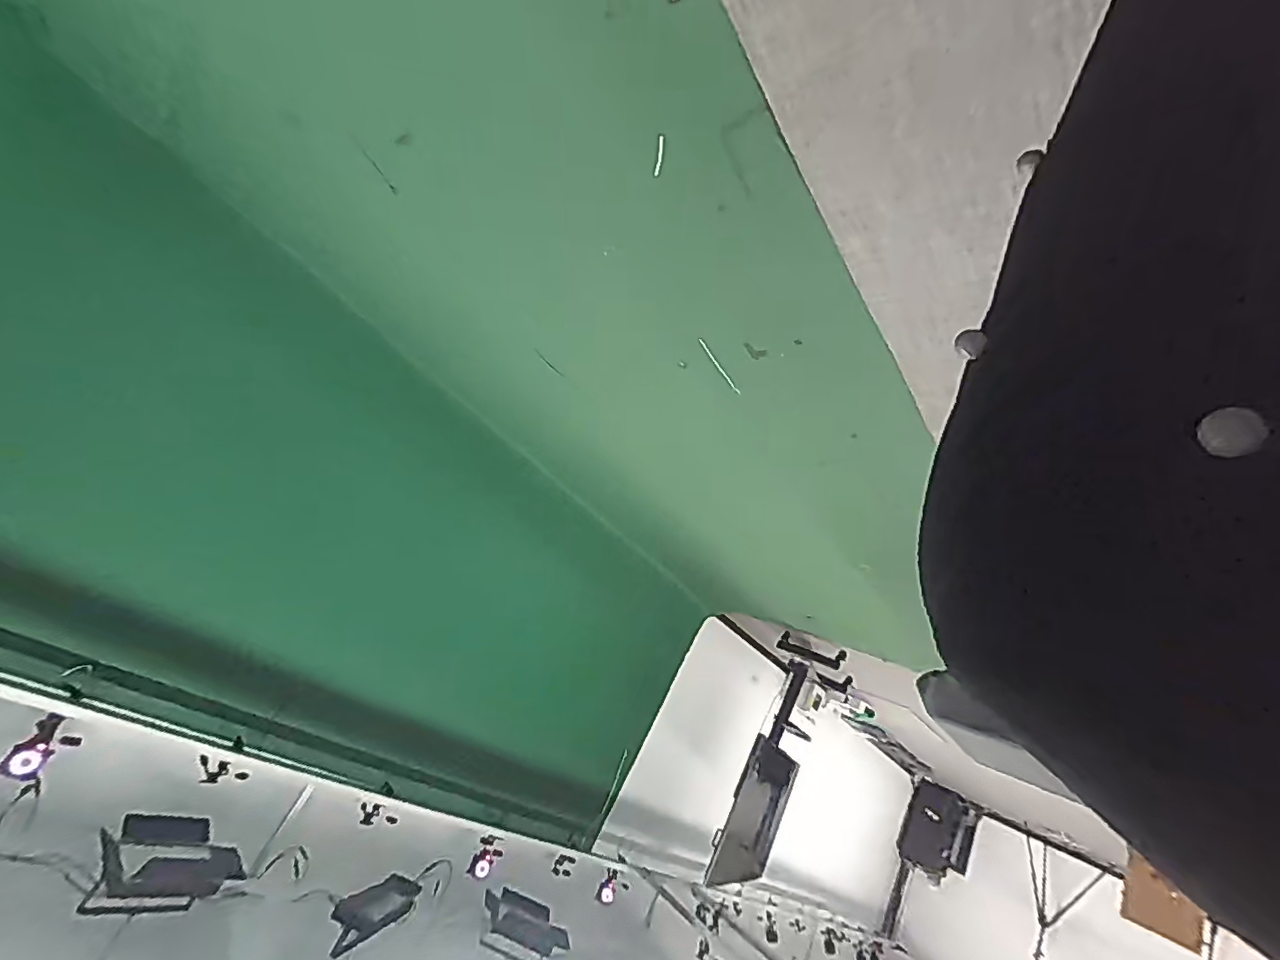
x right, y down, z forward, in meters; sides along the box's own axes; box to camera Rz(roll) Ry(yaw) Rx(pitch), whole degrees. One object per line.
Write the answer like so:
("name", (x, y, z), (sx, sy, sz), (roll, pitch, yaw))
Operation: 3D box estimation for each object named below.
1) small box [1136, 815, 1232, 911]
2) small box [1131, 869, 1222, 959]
("small box", (1.589, 1.110, 1.580), (0.179, 0.176, 0.168), (7, 151, 49))
("small box", (1.516, 1.245, 1.526), (0.168, 0.176, 0.179), (2, 146, 50))
